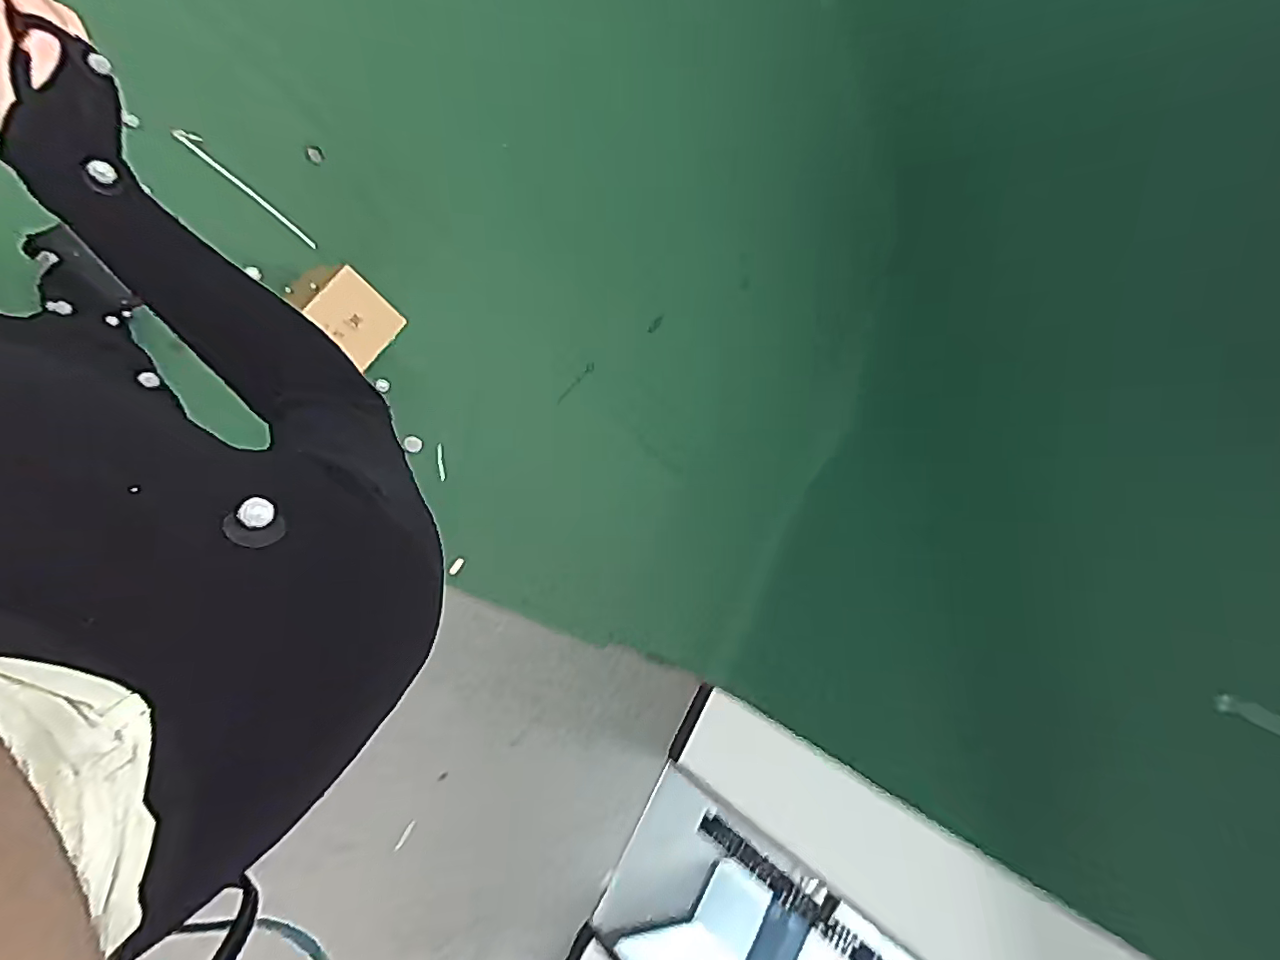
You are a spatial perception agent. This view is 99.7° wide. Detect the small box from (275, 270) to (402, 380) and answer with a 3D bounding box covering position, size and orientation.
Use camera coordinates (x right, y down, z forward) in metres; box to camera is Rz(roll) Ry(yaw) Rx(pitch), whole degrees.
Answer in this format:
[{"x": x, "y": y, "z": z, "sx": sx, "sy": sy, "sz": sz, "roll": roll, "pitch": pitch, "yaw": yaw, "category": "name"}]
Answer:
[{"x": -0.691, "y": -0.355, "z": 1.233, "sx": 0.179, "sy": 0.176, "sz": 0.168, "roll": -56, "pitch": 134, "yaw": -15, "category": "small box"}]
